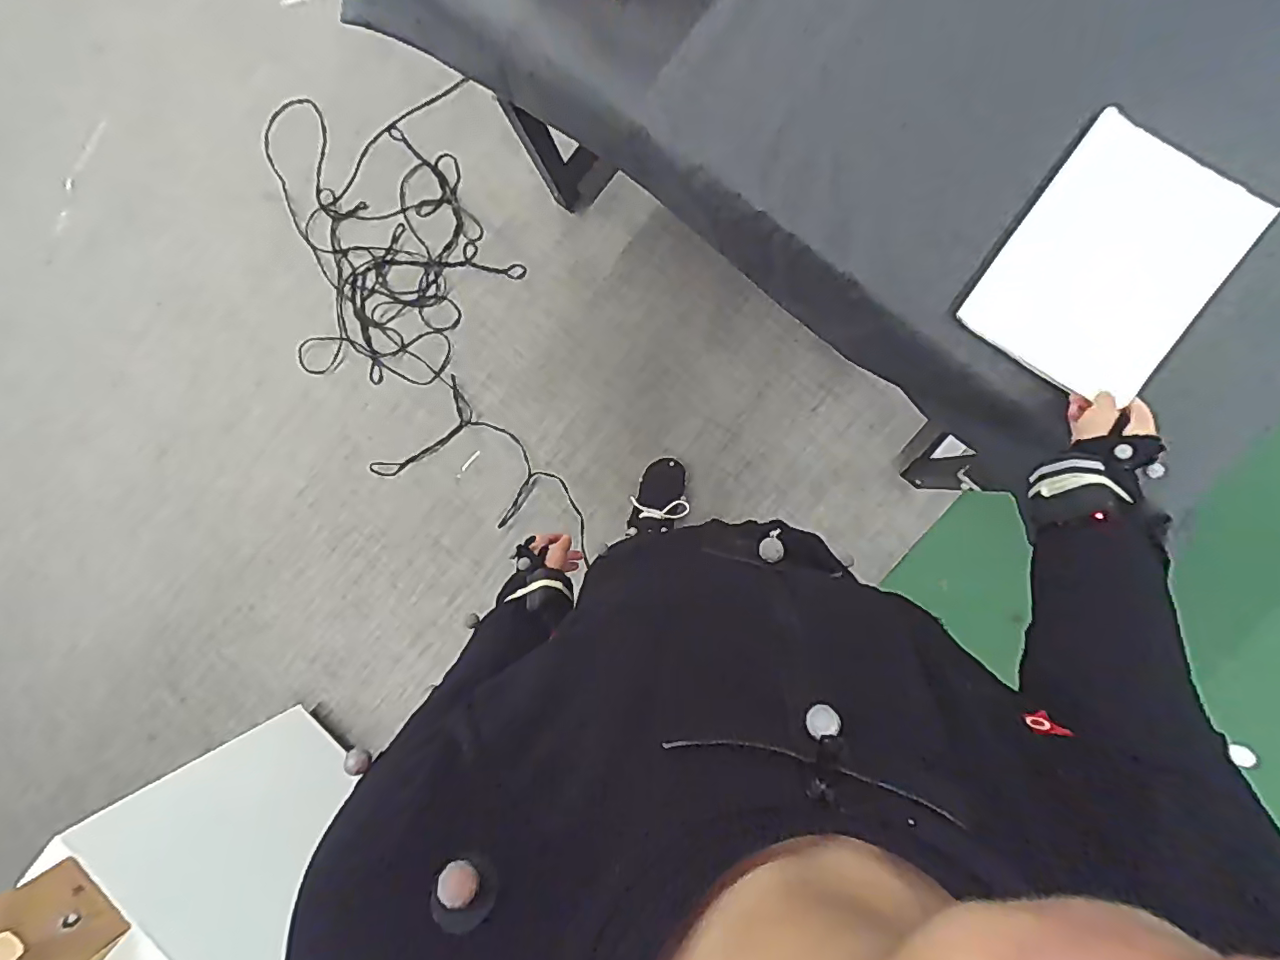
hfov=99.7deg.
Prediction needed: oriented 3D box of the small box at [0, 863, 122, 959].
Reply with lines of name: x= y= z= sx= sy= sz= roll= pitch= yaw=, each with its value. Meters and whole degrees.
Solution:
small box: x=-0.979 y=0.762 z=0.839 sx=0.168 sy=0.176 sz=0.179 roll=42 pitch=96 yaw=6
